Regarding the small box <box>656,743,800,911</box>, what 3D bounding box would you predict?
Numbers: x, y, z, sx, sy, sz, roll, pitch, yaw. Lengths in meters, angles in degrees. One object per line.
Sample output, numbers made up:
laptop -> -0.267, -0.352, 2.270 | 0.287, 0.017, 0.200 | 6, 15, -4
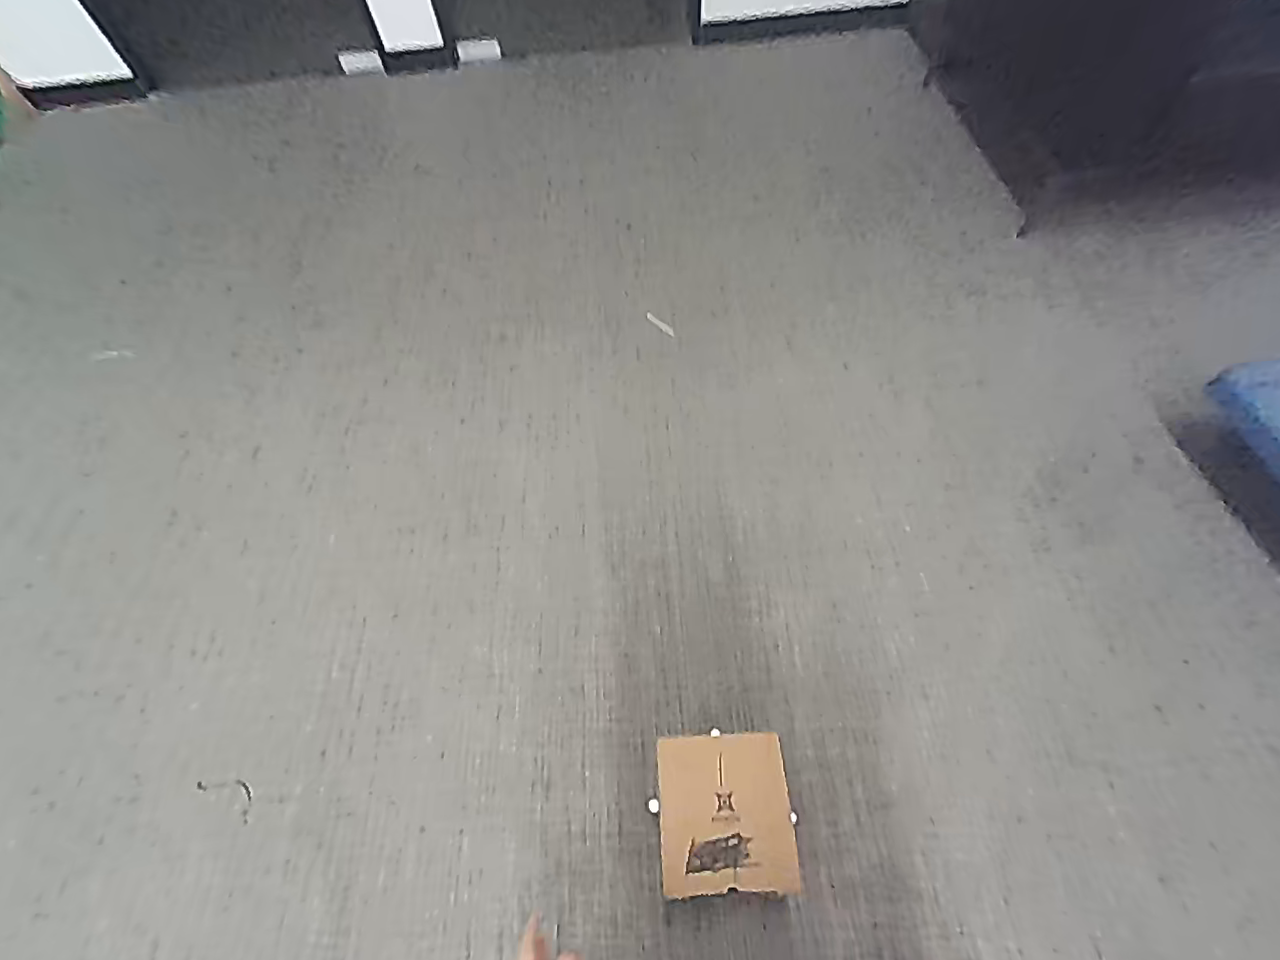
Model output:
small box -> 0.110, 0.467, 0.741 | 0.168, 0.176, 0.179 | -3, 58, 2
